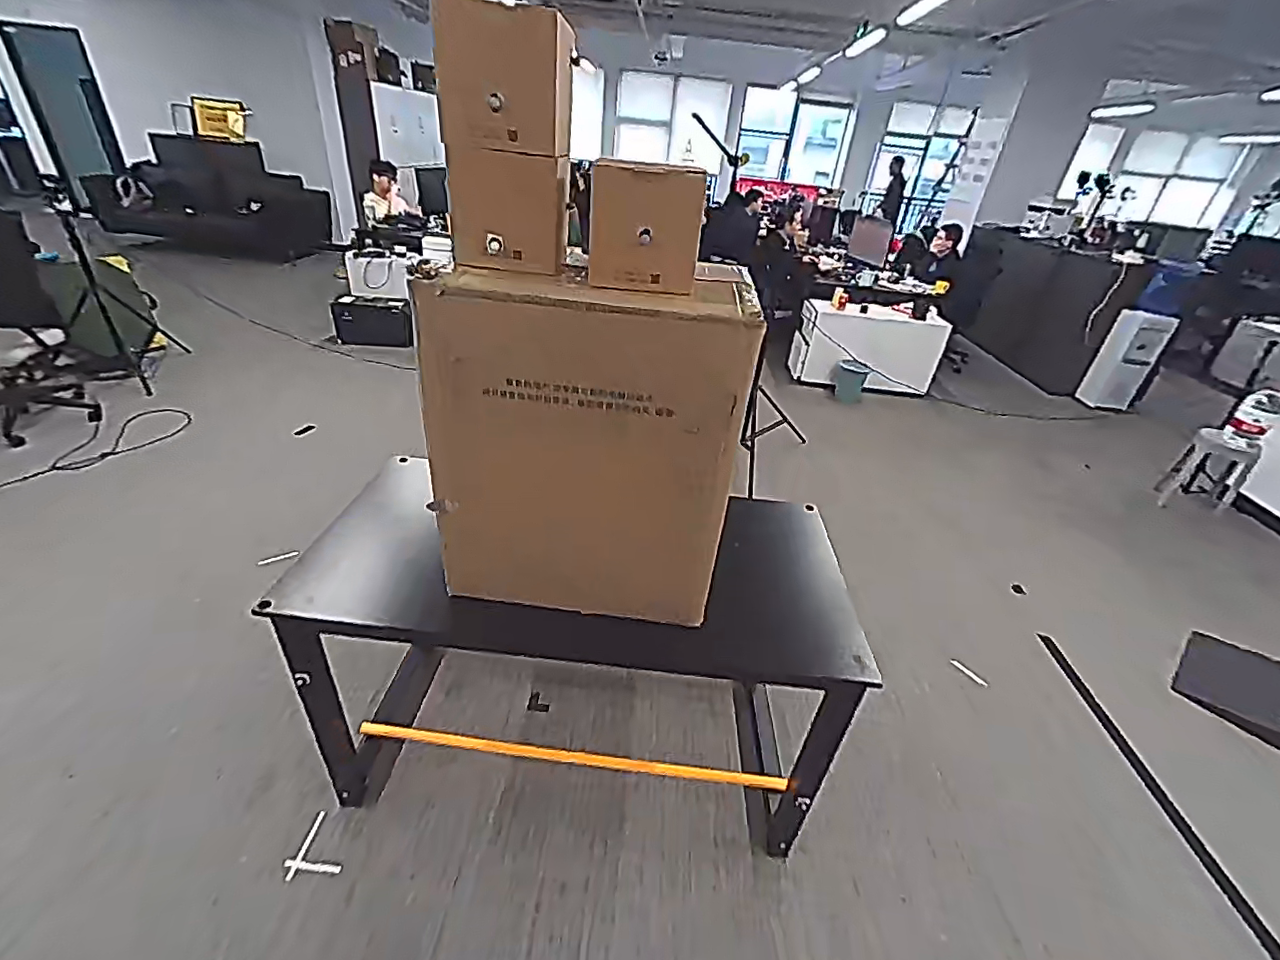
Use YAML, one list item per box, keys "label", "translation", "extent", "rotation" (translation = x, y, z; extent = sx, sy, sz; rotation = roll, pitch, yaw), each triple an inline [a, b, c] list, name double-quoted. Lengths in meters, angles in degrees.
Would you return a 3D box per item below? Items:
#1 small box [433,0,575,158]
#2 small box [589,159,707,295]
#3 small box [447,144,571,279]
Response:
- label: "small box"
  translation: [-0.191, -0.581, 0.797]
  extent: [0.168, 0.176, 0.179]
  rotation: [5, 32, -2]
- label: "small box"
  translation: [0.008, -0.402, 0.857]
  extent: [0.168, 0.176, 0.179]
  rotation: [3, 33, -3]
- label: "small box"
  translation: [-0.205, -0.443, 0.887]
  extent: [0.168, 0.176, 0.179]
  rotation: [4, 33, -4]
